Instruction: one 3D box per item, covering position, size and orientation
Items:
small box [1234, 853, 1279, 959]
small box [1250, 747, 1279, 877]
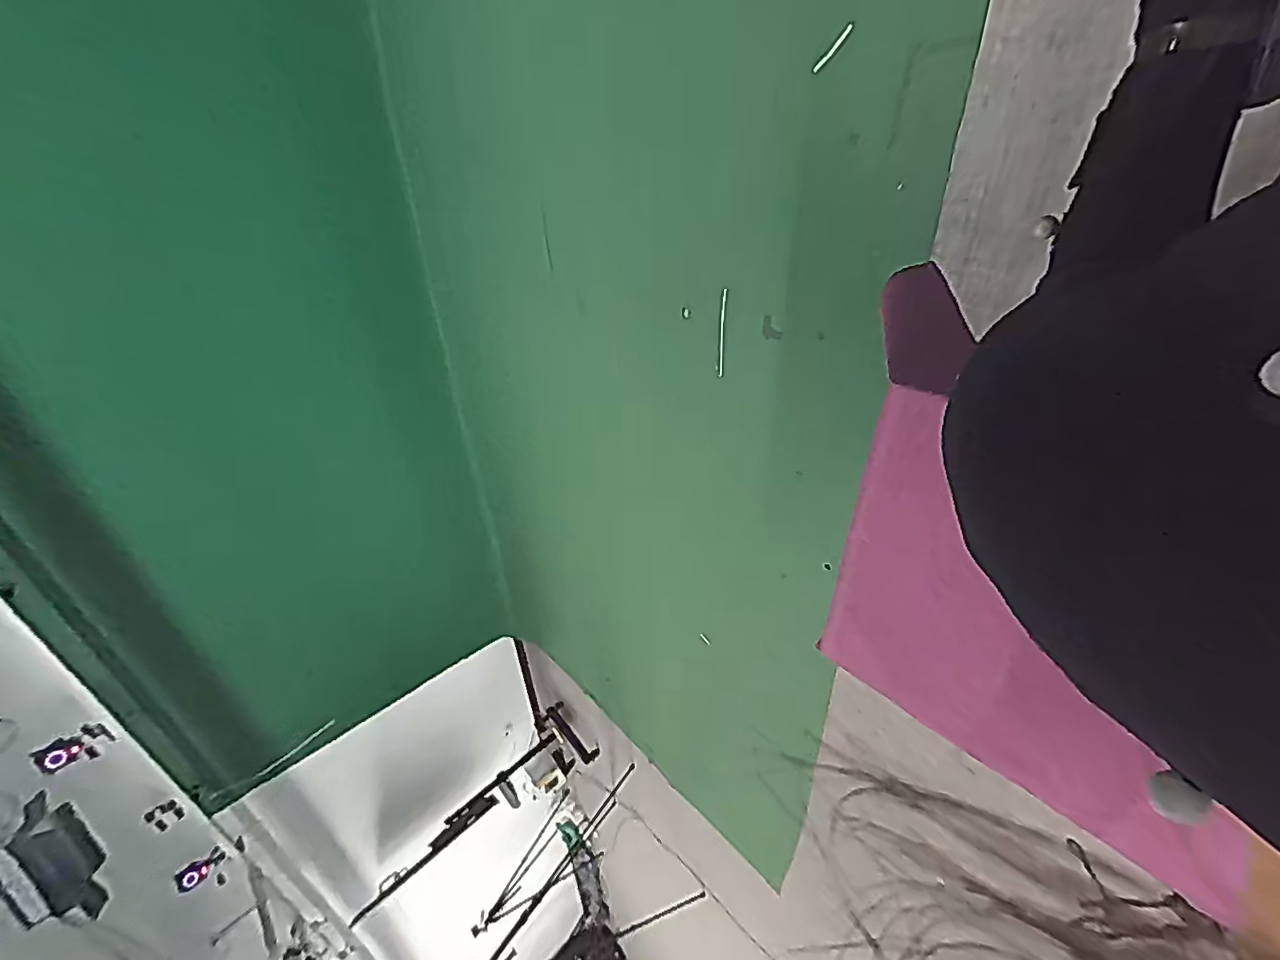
[{"bbox_3d":[0.602,0.394,0.403,0.168,0.176,0.179,31,134,38],"label":"small box"},{"bbox_3d":[0.723,0.324,0.491,0.168,0.176,0.179,31,136,38],"label":"small box"}]
